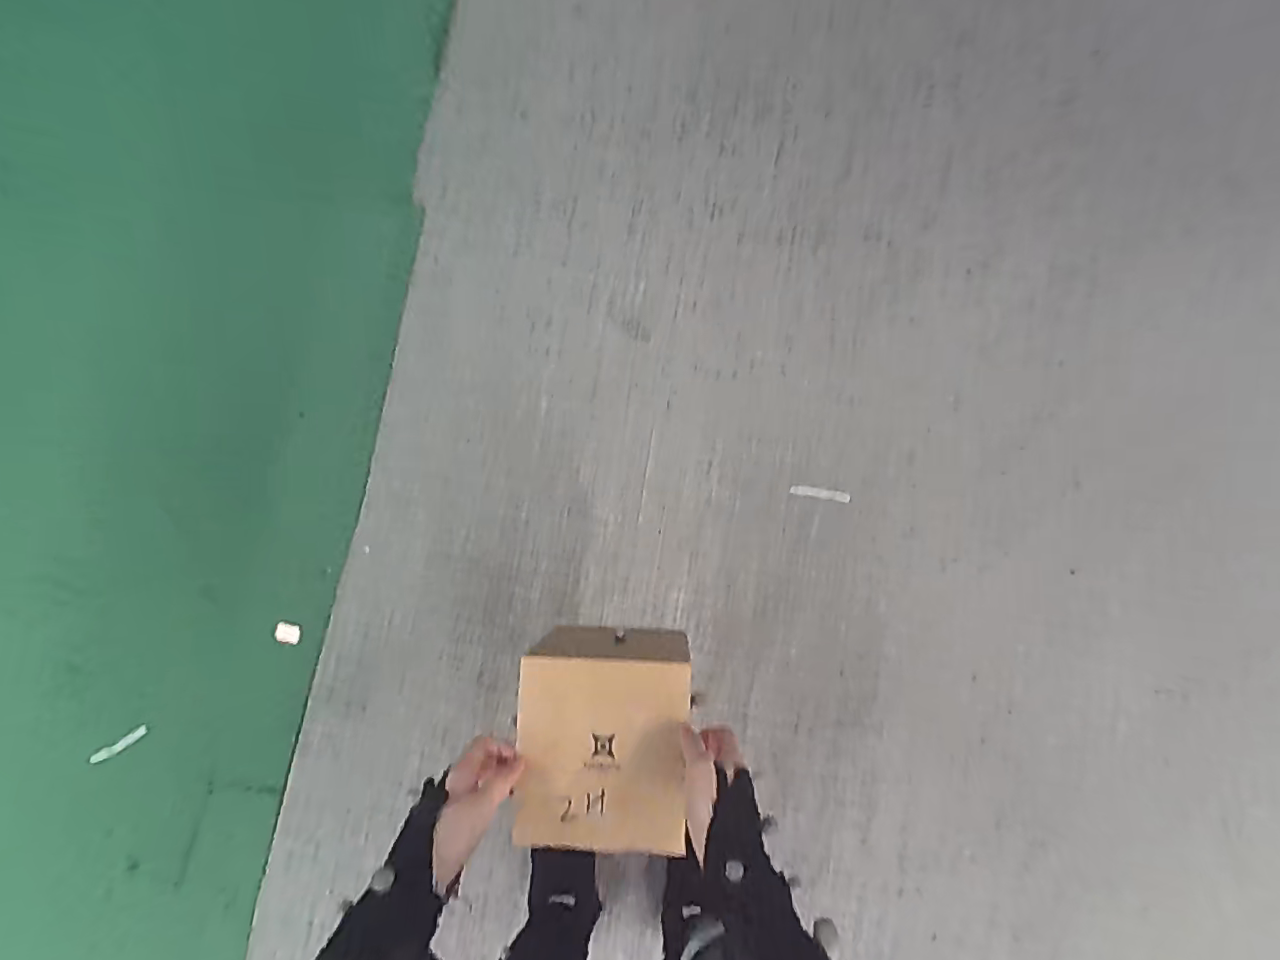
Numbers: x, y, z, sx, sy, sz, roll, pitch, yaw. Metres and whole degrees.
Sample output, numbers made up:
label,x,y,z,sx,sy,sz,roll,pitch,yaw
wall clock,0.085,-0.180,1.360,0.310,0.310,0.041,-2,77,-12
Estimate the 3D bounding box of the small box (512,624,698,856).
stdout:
label,x,y,z,sx,sy,sz,roll,pitch,yaw
small box,-0.028,0.254,0.574,0.168,0.176,0.179,2,85,4
